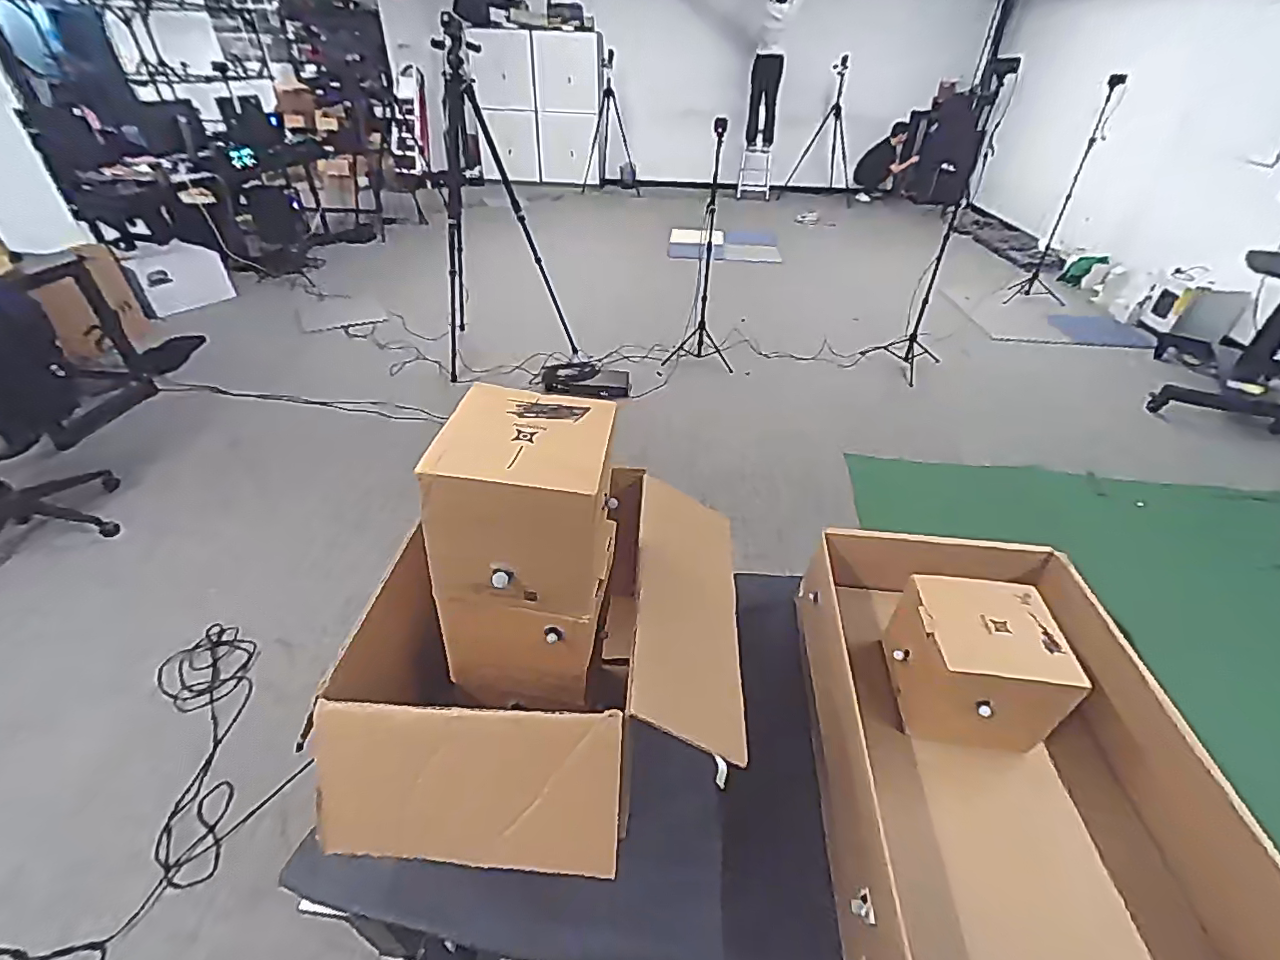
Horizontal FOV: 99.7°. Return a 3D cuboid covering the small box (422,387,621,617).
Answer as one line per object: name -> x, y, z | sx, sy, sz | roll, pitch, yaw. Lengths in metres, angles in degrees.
small box -> -0.118, 0.020, 0.593 | 0.168, 0.176, 0.179 | 7, 37, 0
